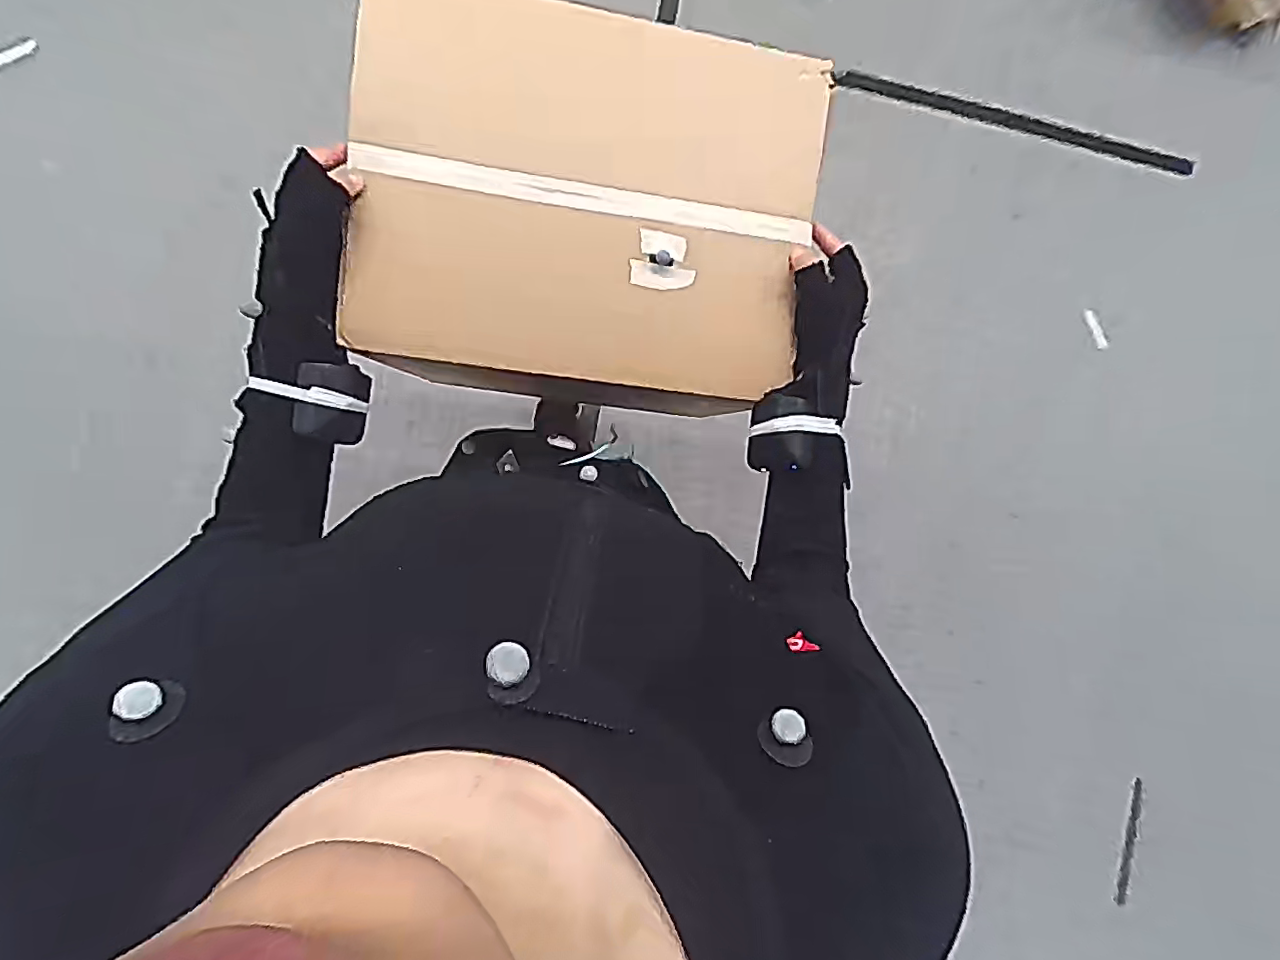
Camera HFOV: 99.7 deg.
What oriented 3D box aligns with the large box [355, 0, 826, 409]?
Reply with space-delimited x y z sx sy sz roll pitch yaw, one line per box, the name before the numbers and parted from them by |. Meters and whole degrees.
large box | -0.059 -0.264 0.631 0.408 0.320 0.320 7 95 -9
